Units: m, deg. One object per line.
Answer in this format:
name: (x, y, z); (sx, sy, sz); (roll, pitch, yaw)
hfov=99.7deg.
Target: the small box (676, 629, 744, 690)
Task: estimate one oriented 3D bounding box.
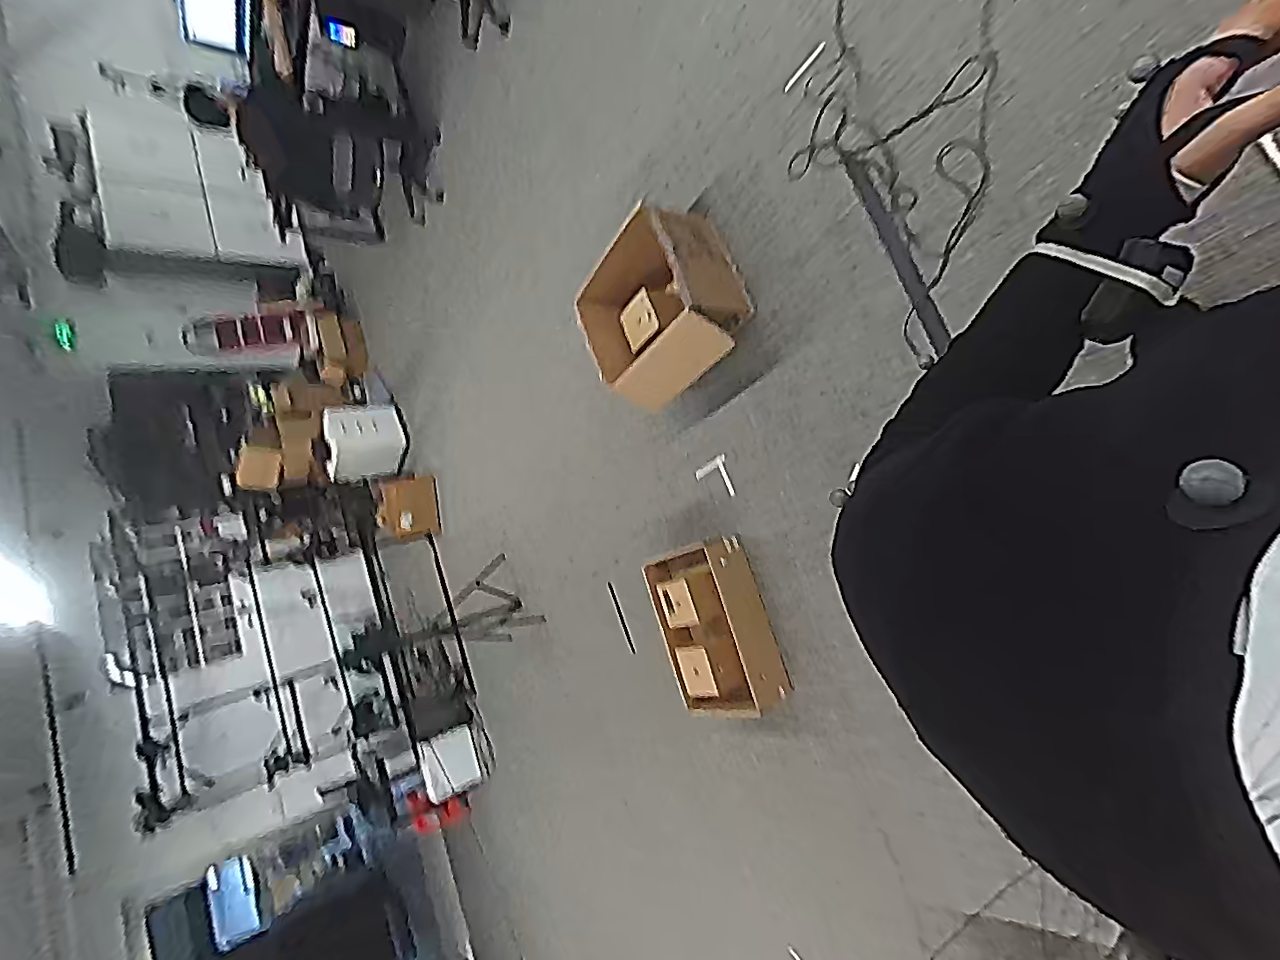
small box: (0.269, 0.683, 2.063); (0.168, 0.176, 0.179); (-25, 77, 48)
